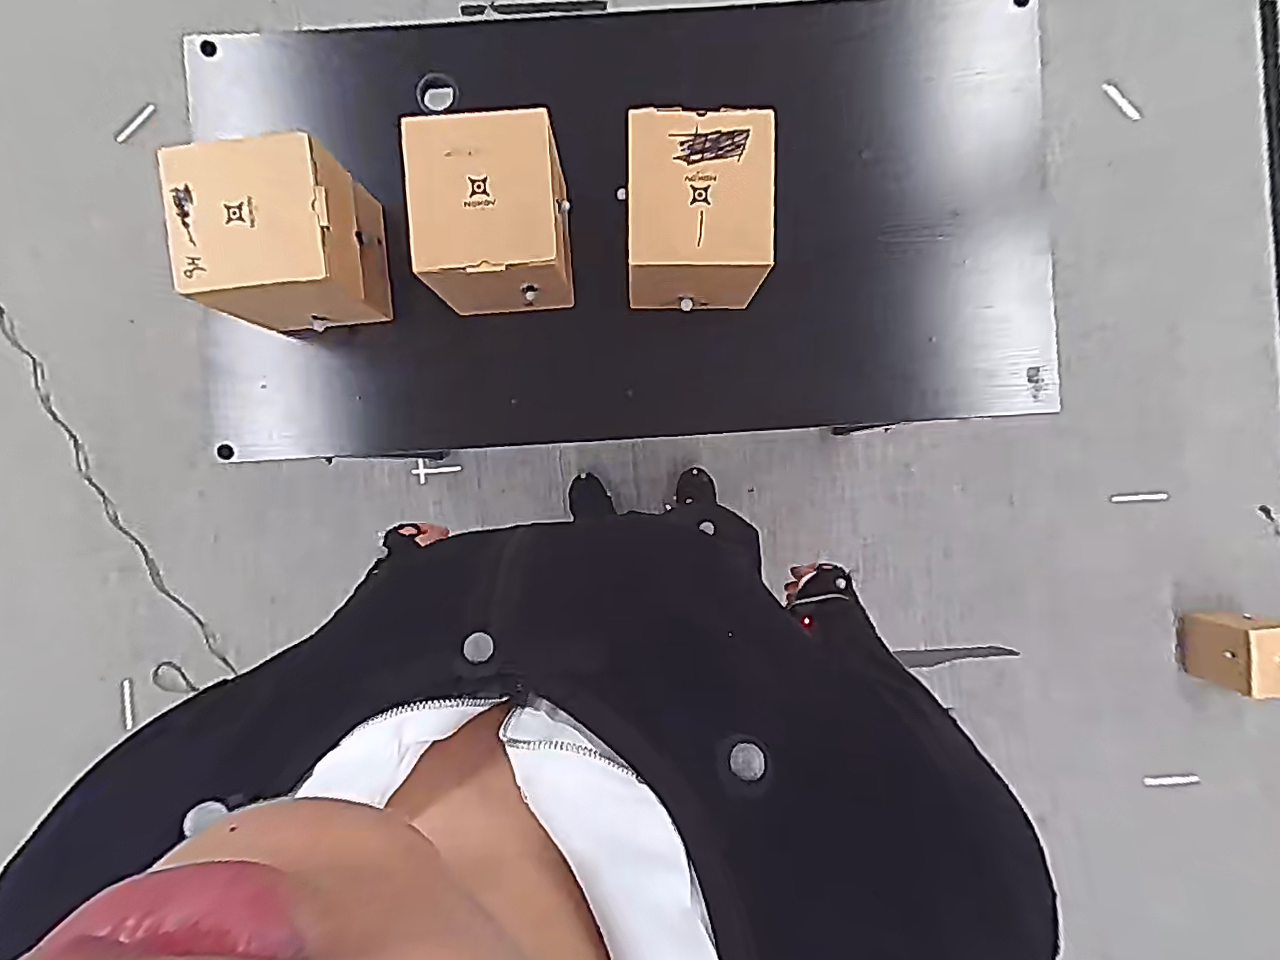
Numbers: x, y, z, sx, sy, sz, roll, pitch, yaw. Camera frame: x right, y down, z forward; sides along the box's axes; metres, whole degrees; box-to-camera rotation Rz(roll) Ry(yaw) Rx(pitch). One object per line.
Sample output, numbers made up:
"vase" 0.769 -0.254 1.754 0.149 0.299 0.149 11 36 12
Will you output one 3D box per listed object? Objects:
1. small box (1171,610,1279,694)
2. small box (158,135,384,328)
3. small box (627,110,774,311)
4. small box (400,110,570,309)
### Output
"small box" 1.581 0.451 1.446 0.168 0.176 0.179 -4 92 0
"small box" -0.444 -0.300 0.684 0.179 0.176 0.168 -6 90 -2
"small box" 0.067 -0.329 0.689 0.168 0.176 0.179 0 91 -1
"small box" -0.183 -0.326 0.688 0.168 0.176 0.179 -5 90 -1
